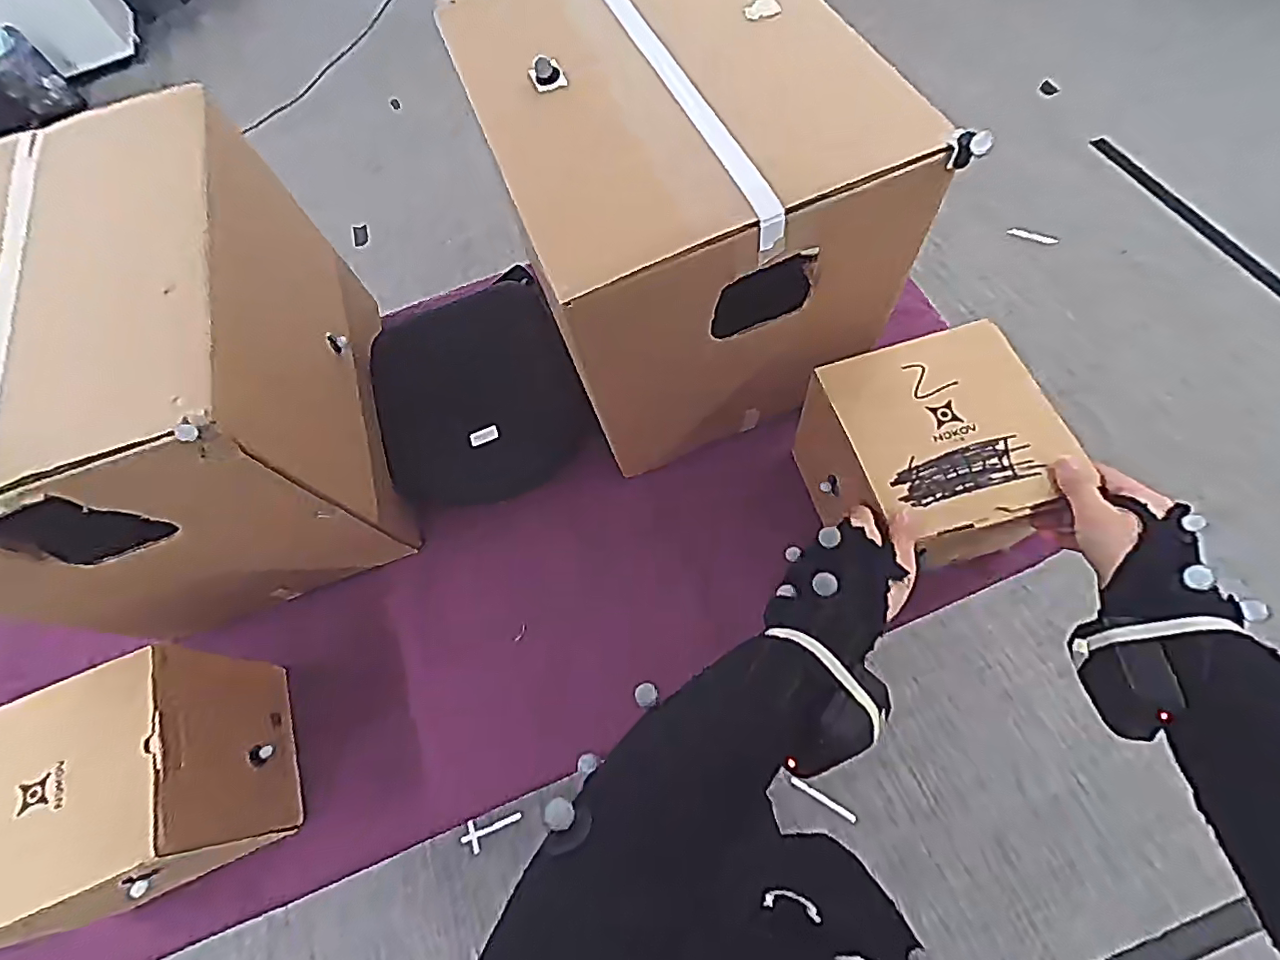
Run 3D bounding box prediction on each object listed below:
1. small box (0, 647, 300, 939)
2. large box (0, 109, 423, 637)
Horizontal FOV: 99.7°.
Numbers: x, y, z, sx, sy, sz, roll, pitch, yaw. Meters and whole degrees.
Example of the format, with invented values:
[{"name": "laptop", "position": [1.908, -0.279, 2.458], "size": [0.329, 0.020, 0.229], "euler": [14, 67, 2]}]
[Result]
[{"name": "small box", "position": [-0.453, 0.277, 0.492], "size": [0.179, 0.176, 0.168], "euler": [-23, 65, -7]}, {"name": "large box", "position": [-0.481, -0.087, 0.584], "size": [0.320, 0.320, 0.408], "euler": [-21, 68, -2]}]
